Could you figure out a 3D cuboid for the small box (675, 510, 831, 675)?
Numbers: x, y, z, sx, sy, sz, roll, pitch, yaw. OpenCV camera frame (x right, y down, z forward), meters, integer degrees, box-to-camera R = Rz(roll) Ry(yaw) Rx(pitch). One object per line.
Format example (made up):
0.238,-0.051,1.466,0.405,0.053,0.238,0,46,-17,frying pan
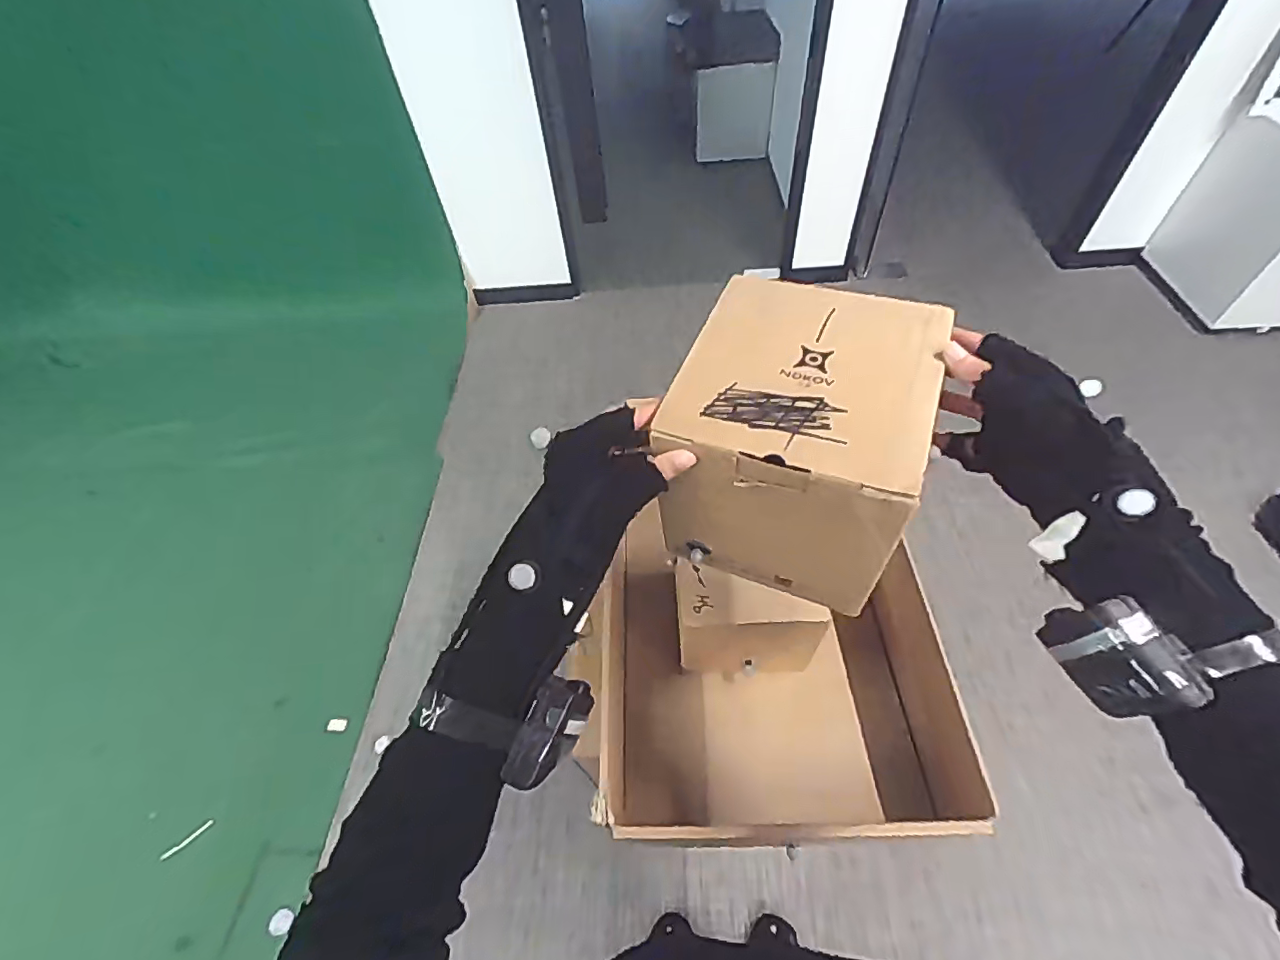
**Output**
0.139,0.156,0.739,0.179,0.176,0.168,-2,50,2,small box
